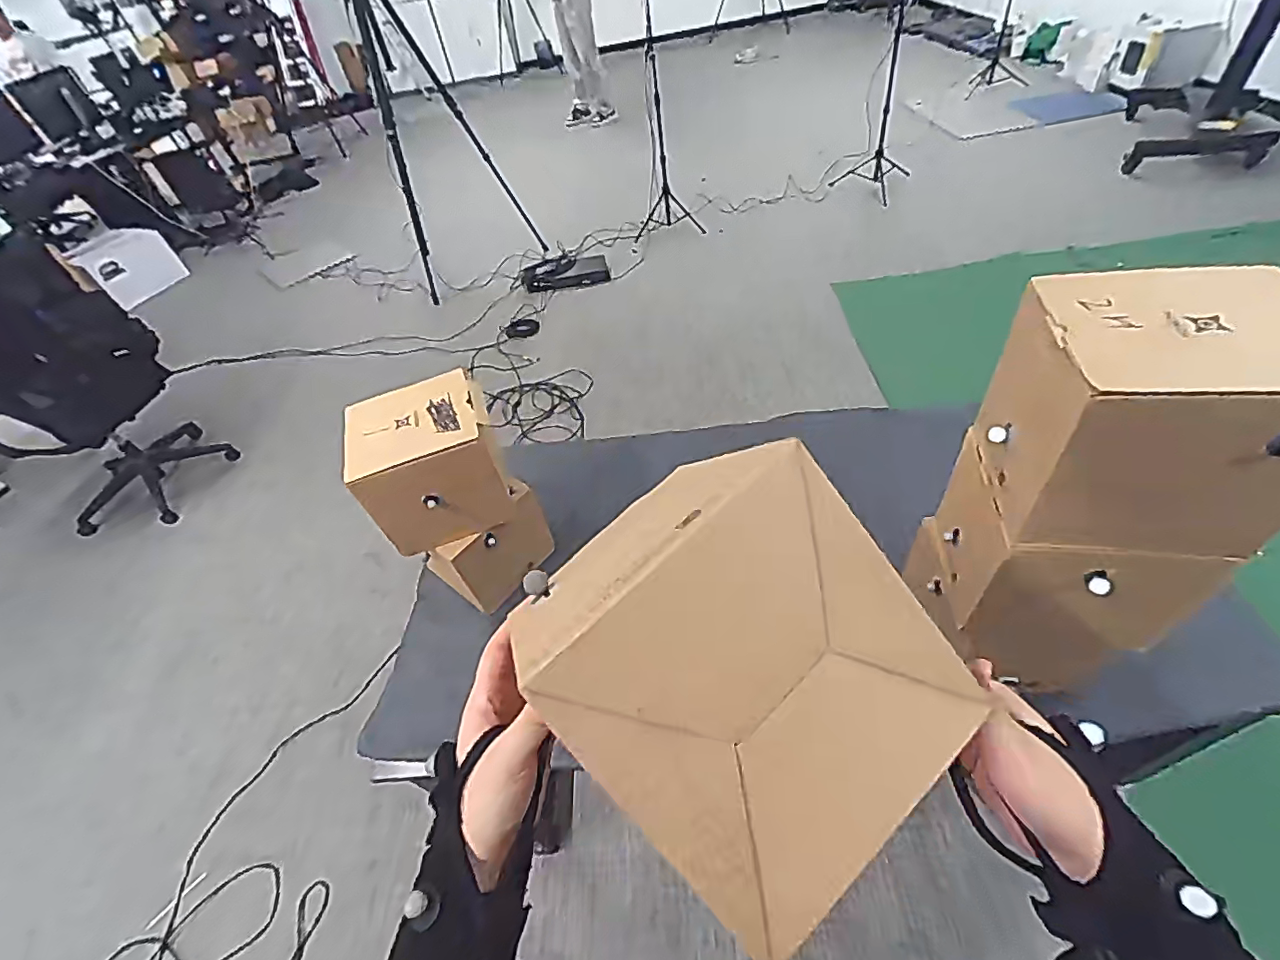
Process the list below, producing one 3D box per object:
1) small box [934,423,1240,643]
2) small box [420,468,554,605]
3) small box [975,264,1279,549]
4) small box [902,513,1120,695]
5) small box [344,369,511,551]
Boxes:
[{"bbox_3d":[0.434,0.056,0.569,0.179,0.176,0.168,1,47,14],"label":"small box"},{"bbox_3d":[-0.275,0.079,0.910,0.179,0.176,0.168,27,58,30],"label":"small box"},{"bbox_3d":[0.412,-0.058,0.451,0.179,0.176,0.168,2,47,15],"label":"small box"},{"bbox_3d":[0.458,0.155,0.696,0.168,0.176,0.179,-7,47,7],"label":"small box"},{"bbox_3d":[-0.298,-0.027,0.786,0.179,0.176,0.168,-20,49,-7],"label":"small box"}]
